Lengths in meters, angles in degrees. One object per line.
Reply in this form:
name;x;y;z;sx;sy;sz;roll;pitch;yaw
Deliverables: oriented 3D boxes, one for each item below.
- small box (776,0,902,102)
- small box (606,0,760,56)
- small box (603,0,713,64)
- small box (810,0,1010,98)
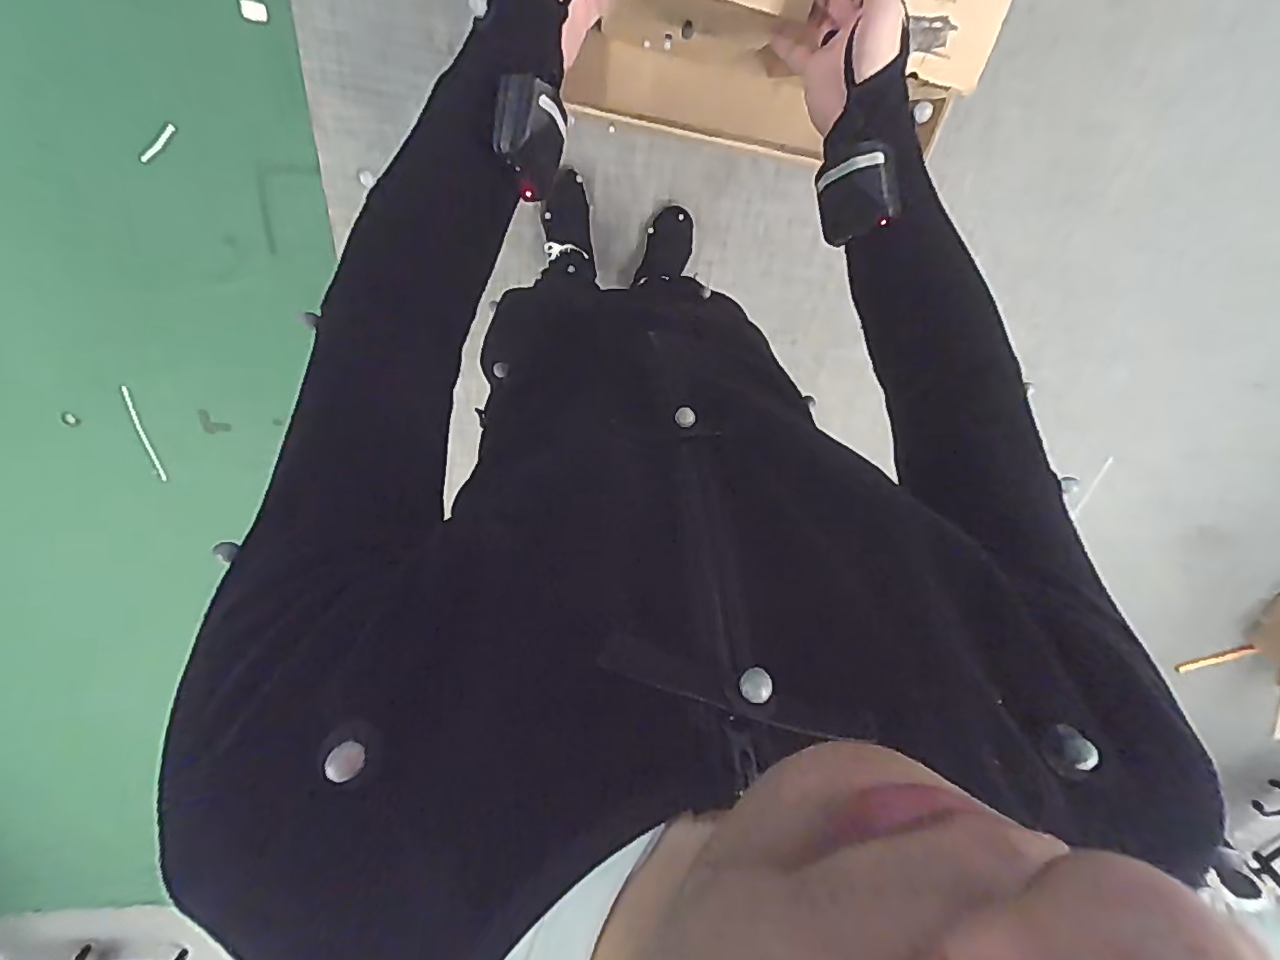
small box;0.315;-0.678;0.798;0.168;0.176;0.179;7;123;-9
small box;0.056;-0.613;0.618;0.168;0.176;0.179;7;123;-10
small box;0.043;-0.711;0.749;0.168;0.176;0.179;9;122;-9
small box;0.328;-0.587;0.661;0.168;0.176;0.179;6;122;-9
